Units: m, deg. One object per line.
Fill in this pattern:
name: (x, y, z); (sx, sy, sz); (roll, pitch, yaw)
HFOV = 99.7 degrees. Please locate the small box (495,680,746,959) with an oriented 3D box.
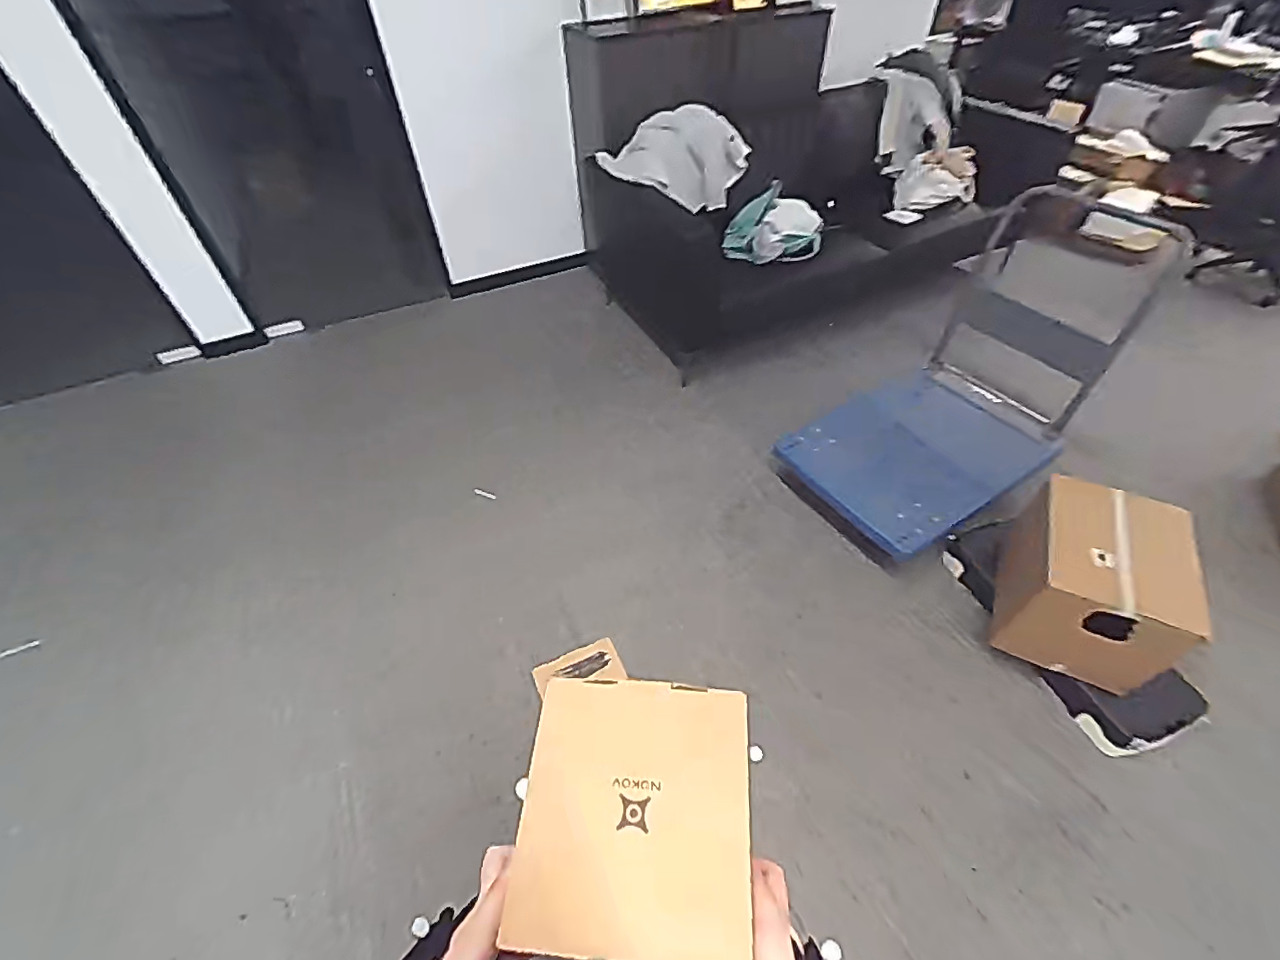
small box: (-0.002, 0.286, 0.453); (0.168, 0.176, 0.179); (2, 52, 5)
